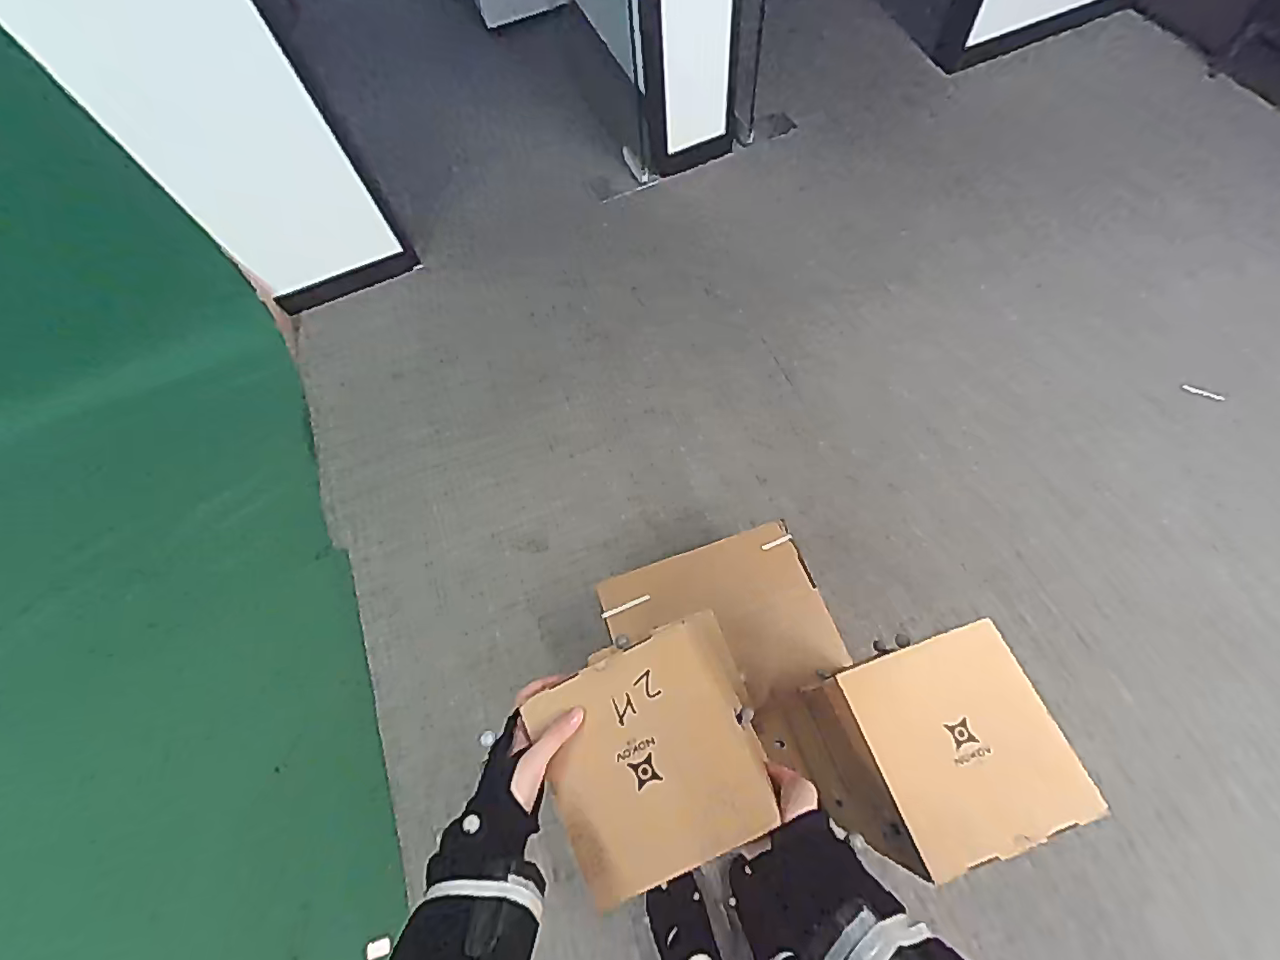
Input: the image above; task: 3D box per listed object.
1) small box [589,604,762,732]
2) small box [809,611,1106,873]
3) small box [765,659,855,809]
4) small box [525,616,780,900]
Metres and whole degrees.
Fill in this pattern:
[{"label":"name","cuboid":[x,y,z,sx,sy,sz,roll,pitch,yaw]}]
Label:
[{"label":"small box","cuboid":[0.051,0.294,0.745,0.179,0.176,0.168,-22,65,-3]},{"label":"small box","cuboid":[0.296,0.260,0.557,0.168,0.176,0.179,-20,65,-4]},{"label":"small box","cuboid":[0.317,0.390,0.857,0.179,0.176,0.168,-22,64,-4]},{"label":"small box","cuboid":[0.019,0.246,0.529,0.168,0.176,0.179,-28,74,2]}]
